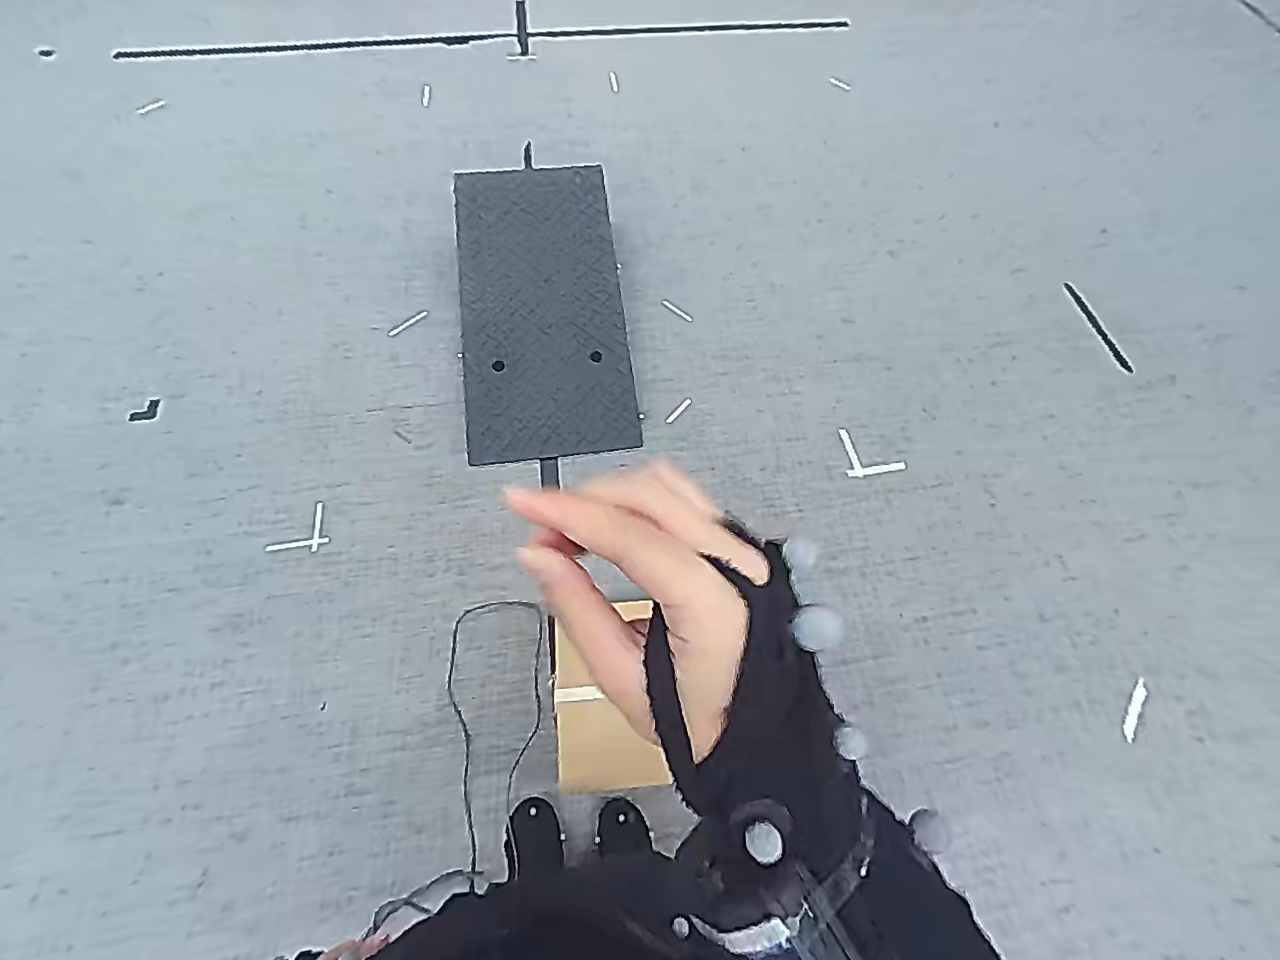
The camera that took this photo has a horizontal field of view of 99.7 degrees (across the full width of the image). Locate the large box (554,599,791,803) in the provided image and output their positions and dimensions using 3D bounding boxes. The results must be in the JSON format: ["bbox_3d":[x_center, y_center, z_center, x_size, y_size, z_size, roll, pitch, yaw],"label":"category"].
[{"bbox_3d":[0.039,0.451,1.104,0.408,0.320,0.320,-3,63,-5],"label":"large box"}]

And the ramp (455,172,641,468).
[{"bbox_3d":[-0.298,-0.530,1.657,0.509,0.206,0.991,-7,64,-7],"label":"ramp"}]
